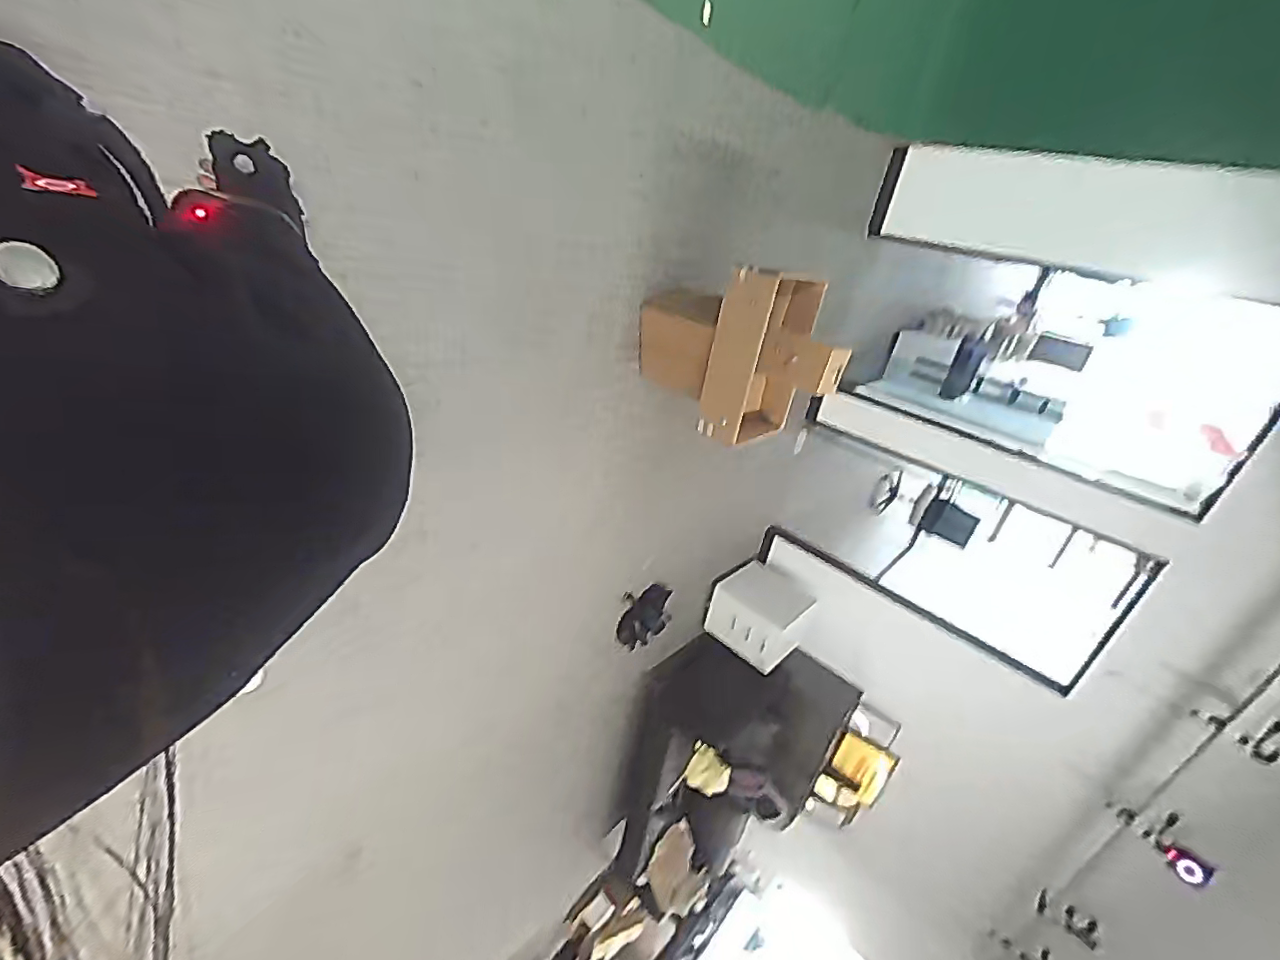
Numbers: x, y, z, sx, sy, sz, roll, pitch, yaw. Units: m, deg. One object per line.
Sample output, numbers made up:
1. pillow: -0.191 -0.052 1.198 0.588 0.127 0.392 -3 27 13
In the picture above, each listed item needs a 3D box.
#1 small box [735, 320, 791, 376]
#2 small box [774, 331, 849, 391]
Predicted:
1. small box: 0.483 -0.488 2.006 0.179 0.176 0.168 -11 123 -50
2. small box: 0.604 -0.424 1.916 0.179 0.176 0.168 -13 126 -48
